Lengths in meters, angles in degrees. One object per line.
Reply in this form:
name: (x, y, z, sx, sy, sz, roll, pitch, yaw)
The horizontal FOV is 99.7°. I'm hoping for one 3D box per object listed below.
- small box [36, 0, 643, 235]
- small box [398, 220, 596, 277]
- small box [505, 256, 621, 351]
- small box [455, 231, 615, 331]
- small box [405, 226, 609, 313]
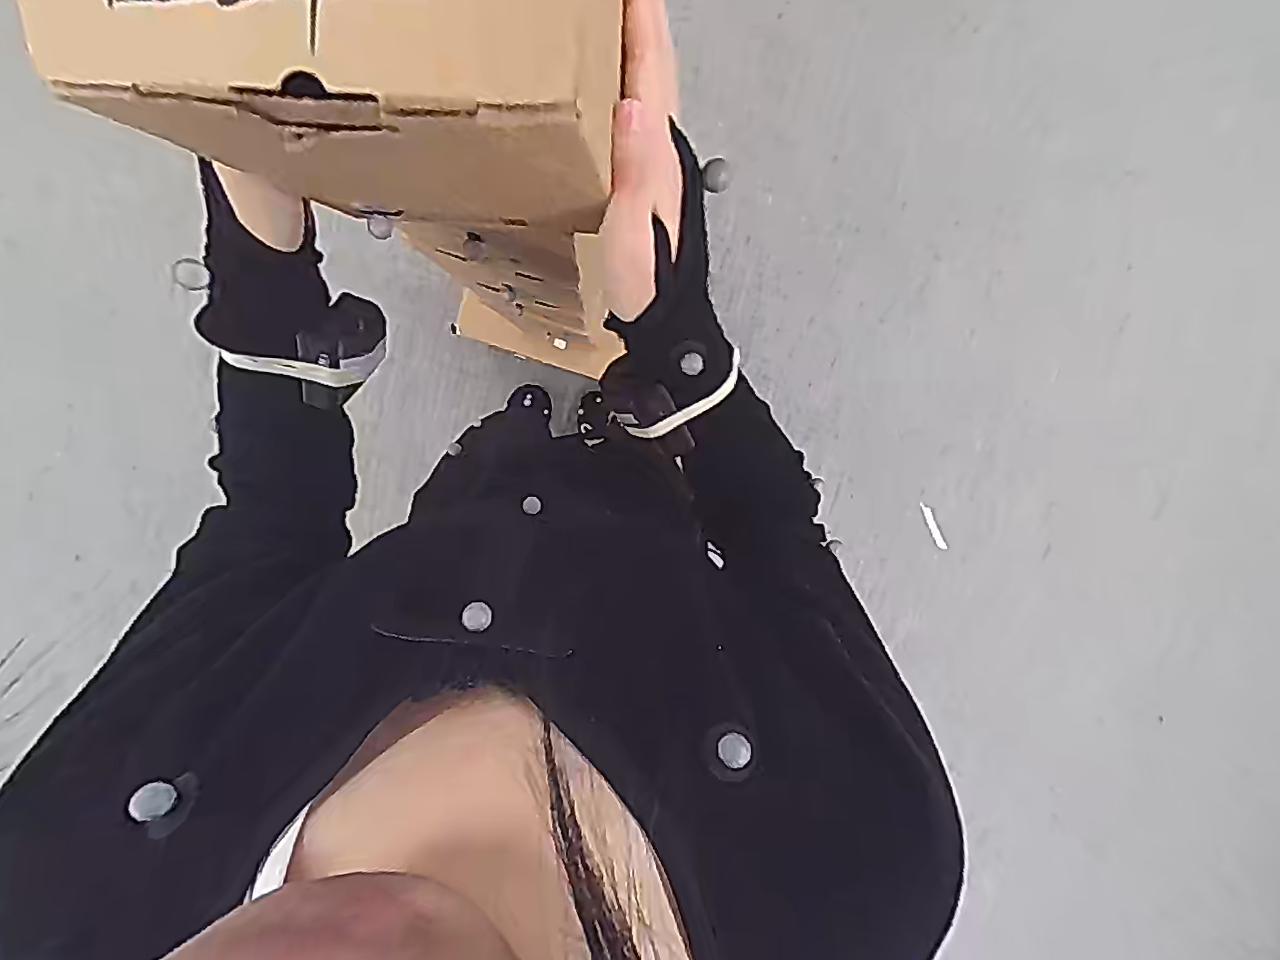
small box: (-0.086, -0.208, 0.218, 0.168, 0.176, 0.179, 4, 104, 2)
small box: (-0.104, -0.265, 0.399, 0.168, 0.176, 0.179, 13, 100, -6)
small box: (-0.143, -0.354, 1.046, 0.179, 0.176, 0.168, 15, 99, -7)
small box: (-0.128, -0.313, 0.723, 0.168, 0.176, 0.179, 16, 99, -6)
small box: (-0.117, -0.288, 0.560, 0.168, 0.176, 0.179, 15, 99, -6)
